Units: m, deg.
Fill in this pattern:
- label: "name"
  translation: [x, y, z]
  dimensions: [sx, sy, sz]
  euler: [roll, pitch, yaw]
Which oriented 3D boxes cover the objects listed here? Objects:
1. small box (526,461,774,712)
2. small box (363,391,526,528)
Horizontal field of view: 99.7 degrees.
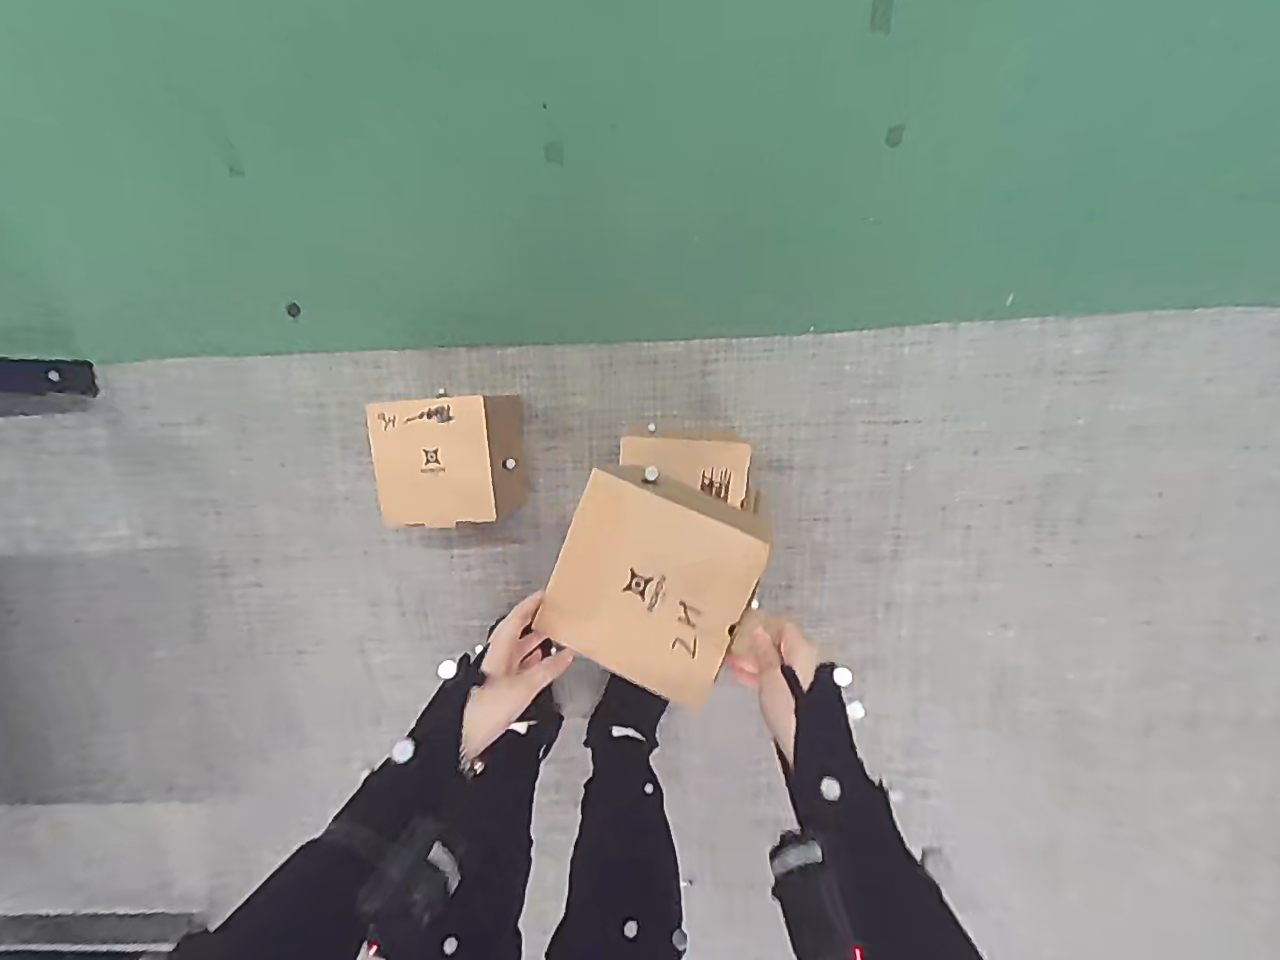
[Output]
- label: "small box"
  translation: [0.020, 0.089, 0.543]
  dimensions: [0.179, 0.176, 0.168]
  euler: [23, 98, 11]
- label: "small box"
  translation: [-0.278, -0.037, 0.808]
  dimensions: [0.168, 0.176, 0.179]
  euler: [-4, 100, 4]
